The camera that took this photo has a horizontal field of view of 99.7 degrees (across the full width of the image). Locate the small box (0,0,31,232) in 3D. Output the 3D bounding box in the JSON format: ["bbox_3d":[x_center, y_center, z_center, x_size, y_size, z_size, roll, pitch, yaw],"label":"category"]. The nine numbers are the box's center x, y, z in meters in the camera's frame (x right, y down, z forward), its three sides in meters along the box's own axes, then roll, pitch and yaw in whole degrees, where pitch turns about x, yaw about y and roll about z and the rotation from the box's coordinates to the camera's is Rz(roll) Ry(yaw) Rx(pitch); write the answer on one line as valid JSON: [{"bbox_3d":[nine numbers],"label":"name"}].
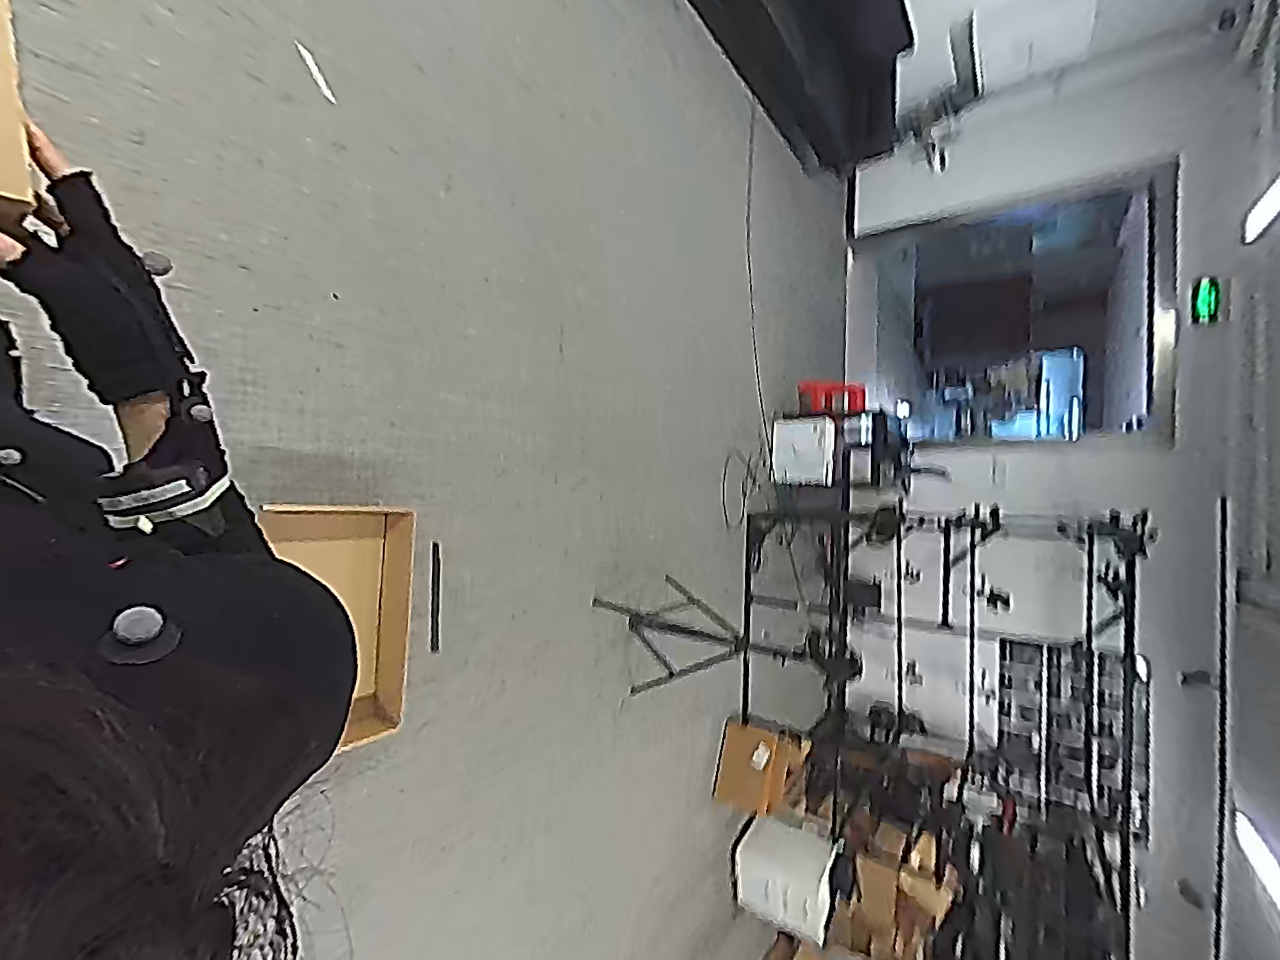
[{"bbox_3d":[-0.458,-0.225,0.269,0.168,0.176,0.179,-8,88,-60],"label":"small box"}]
